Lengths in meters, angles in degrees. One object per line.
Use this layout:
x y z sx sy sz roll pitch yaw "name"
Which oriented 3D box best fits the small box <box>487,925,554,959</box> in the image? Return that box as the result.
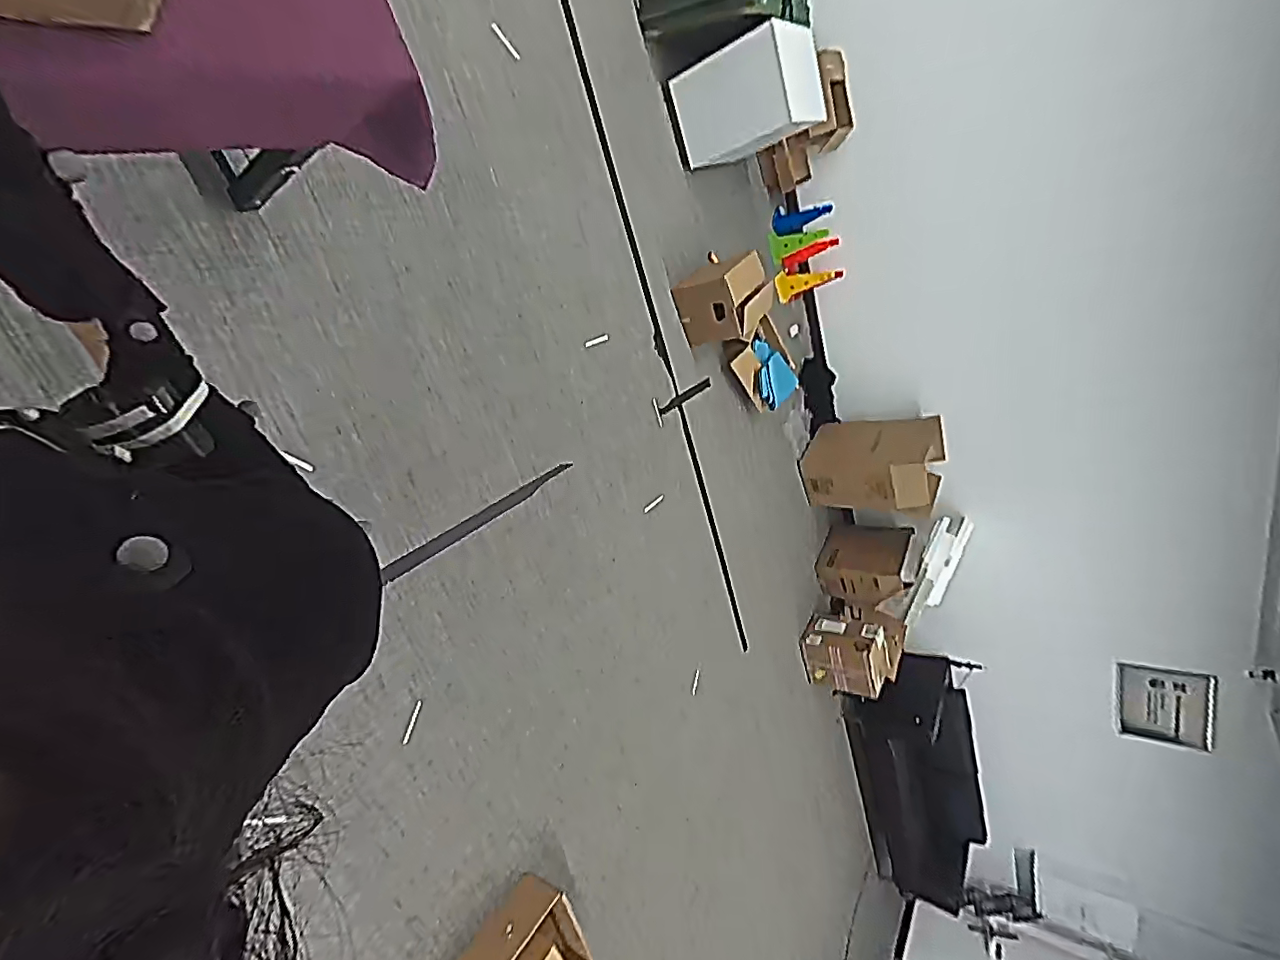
-0.392 1.639 1.793 0.168 0.176 0.179 -38 118 -44 "small box"
